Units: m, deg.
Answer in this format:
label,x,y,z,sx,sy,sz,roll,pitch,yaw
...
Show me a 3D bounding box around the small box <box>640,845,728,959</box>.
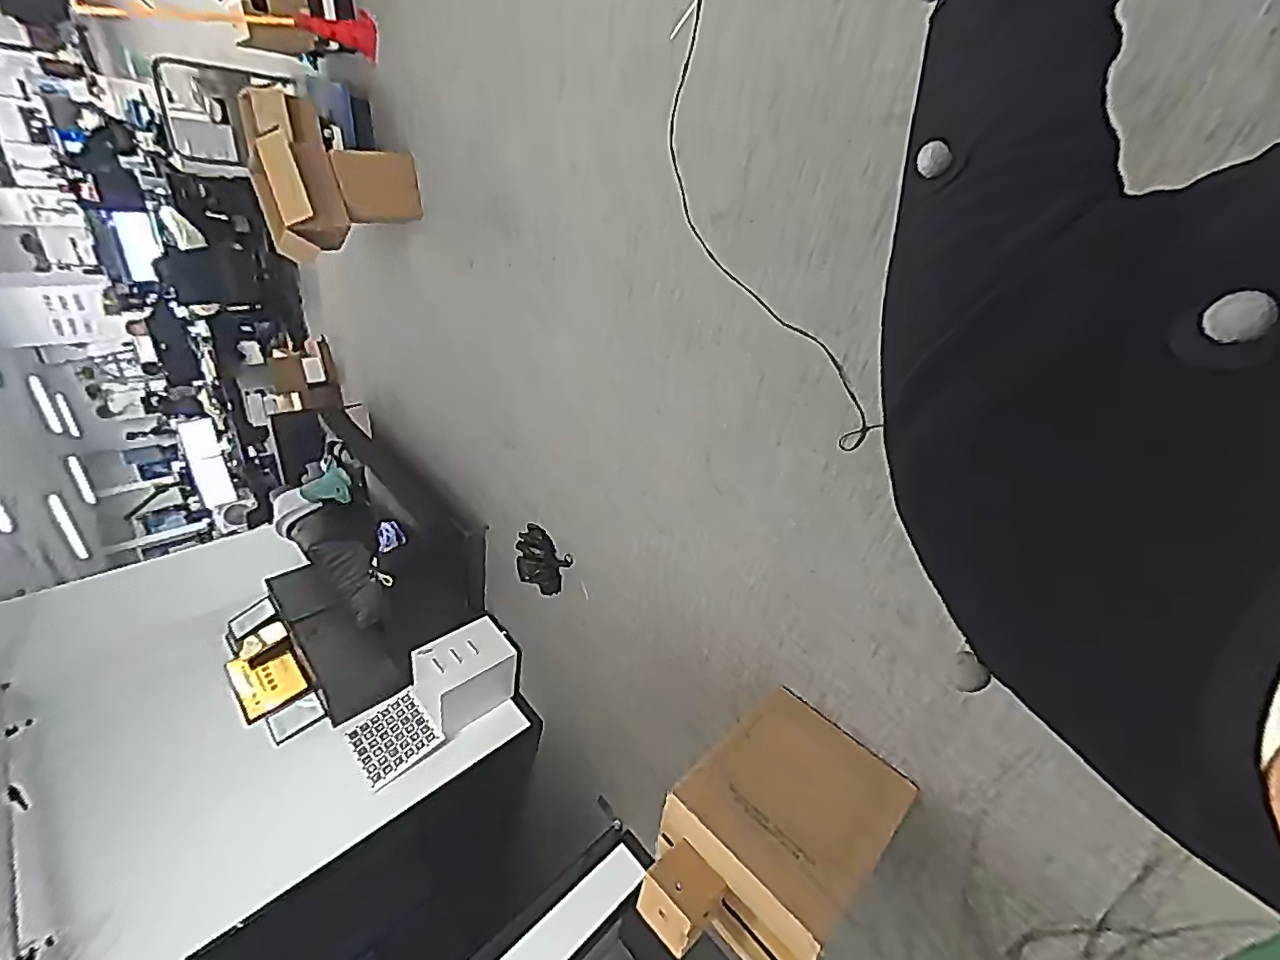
label,x,y,z,sx,sy,sz,roll,pitch,yaw
small box,0.130,1.219,1.569,0.179,0.176,0.168,28,116,40
